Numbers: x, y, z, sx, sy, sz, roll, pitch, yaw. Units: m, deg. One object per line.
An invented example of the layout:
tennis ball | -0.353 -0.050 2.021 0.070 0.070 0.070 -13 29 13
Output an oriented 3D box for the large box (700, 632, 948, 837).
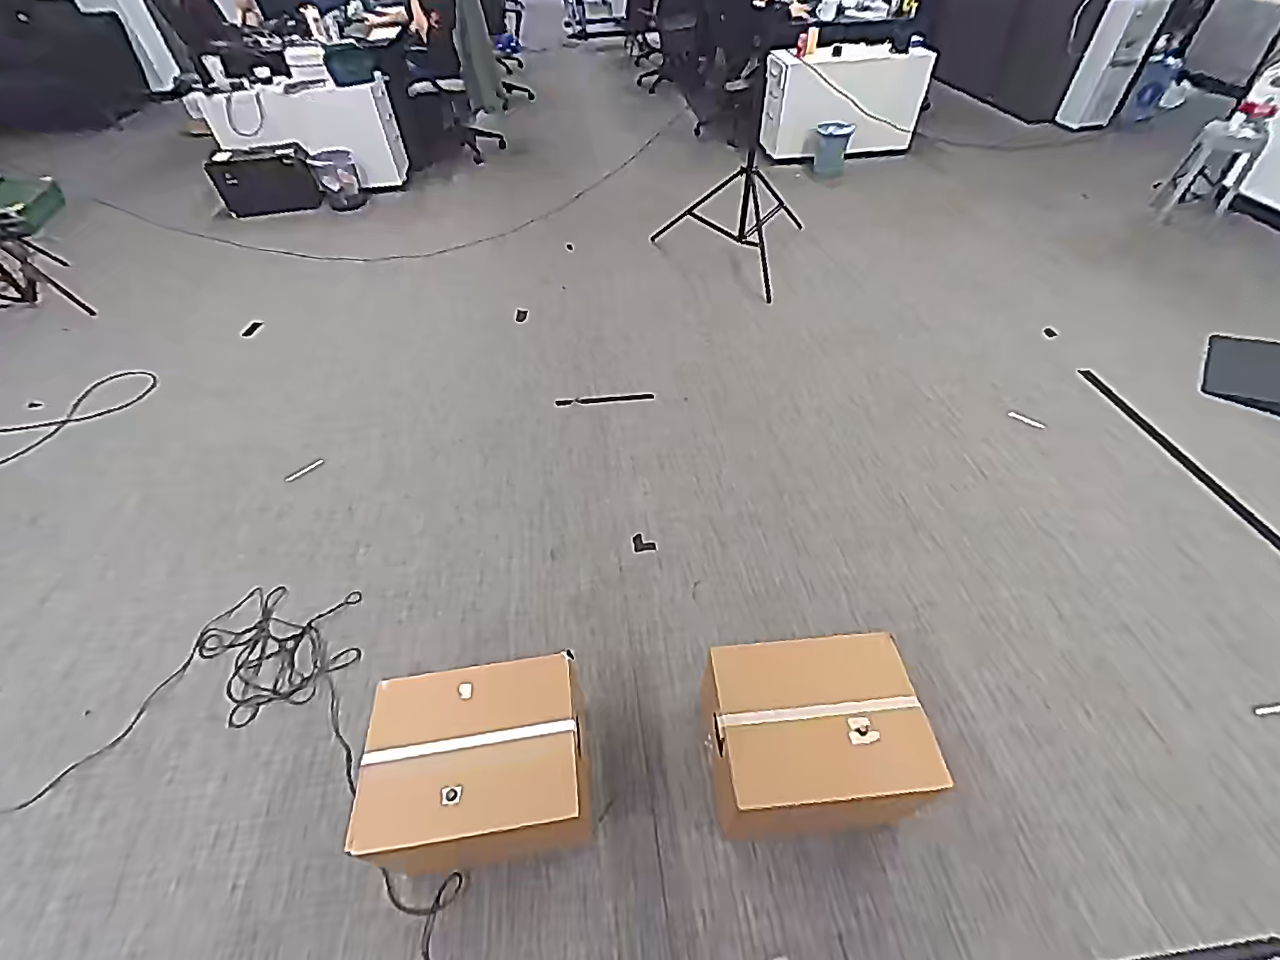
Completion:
large box | 0.366 0.566 1.202 0.408 0.320 0.320 -4 48 -3
